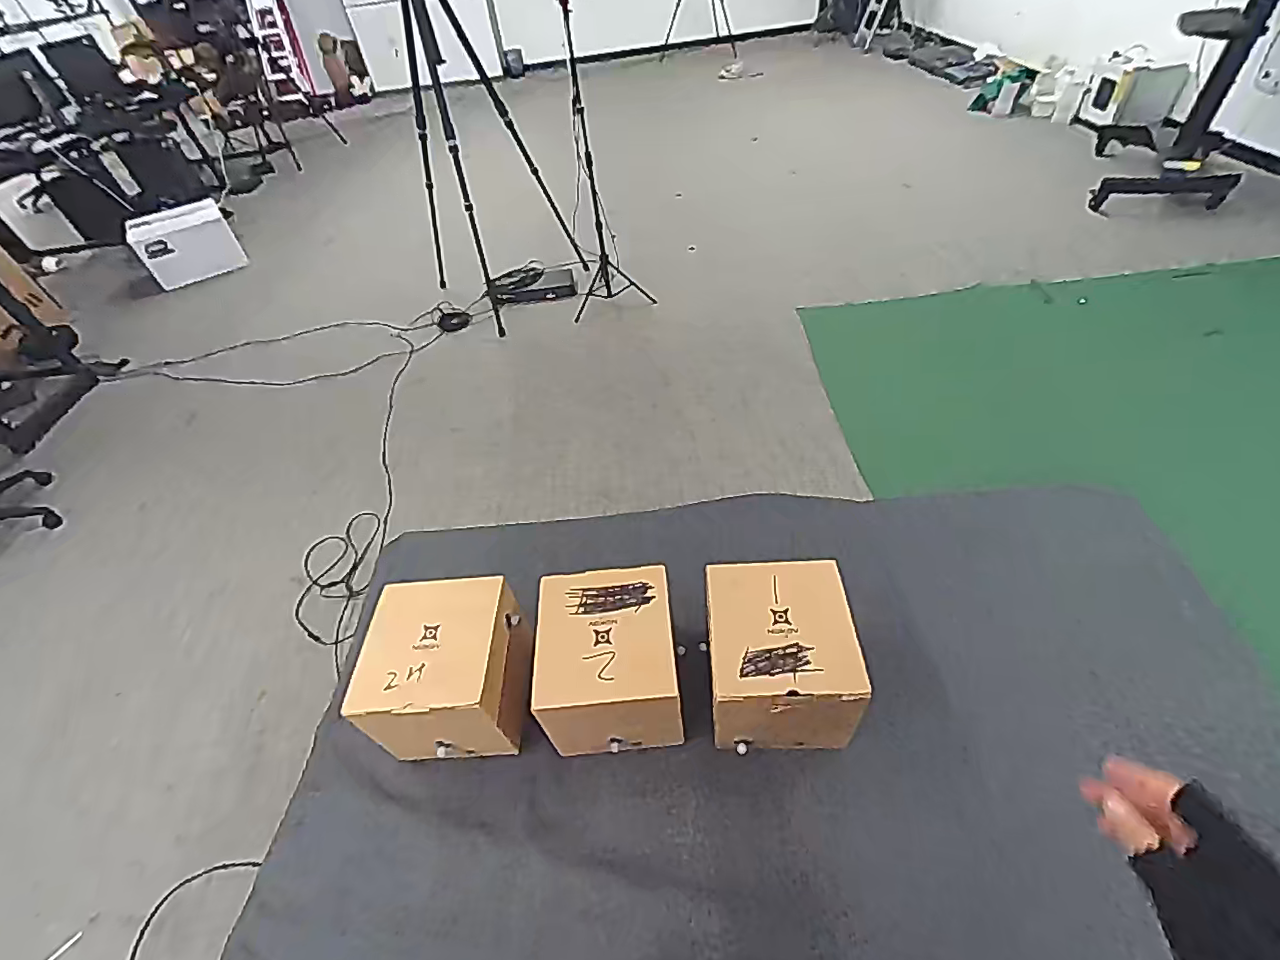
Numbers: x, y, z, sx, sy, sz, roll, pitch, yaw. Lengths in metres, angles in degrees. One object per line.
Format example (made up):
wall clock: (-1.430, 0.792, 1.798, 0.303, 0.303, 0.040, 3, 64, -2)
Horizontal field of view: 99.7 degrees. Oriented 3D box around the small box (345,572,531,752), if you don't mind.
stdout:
small box: (-0.251, 0.245, 0.727, 0.168, 0.176, 0.179, -5, 46, 4)
